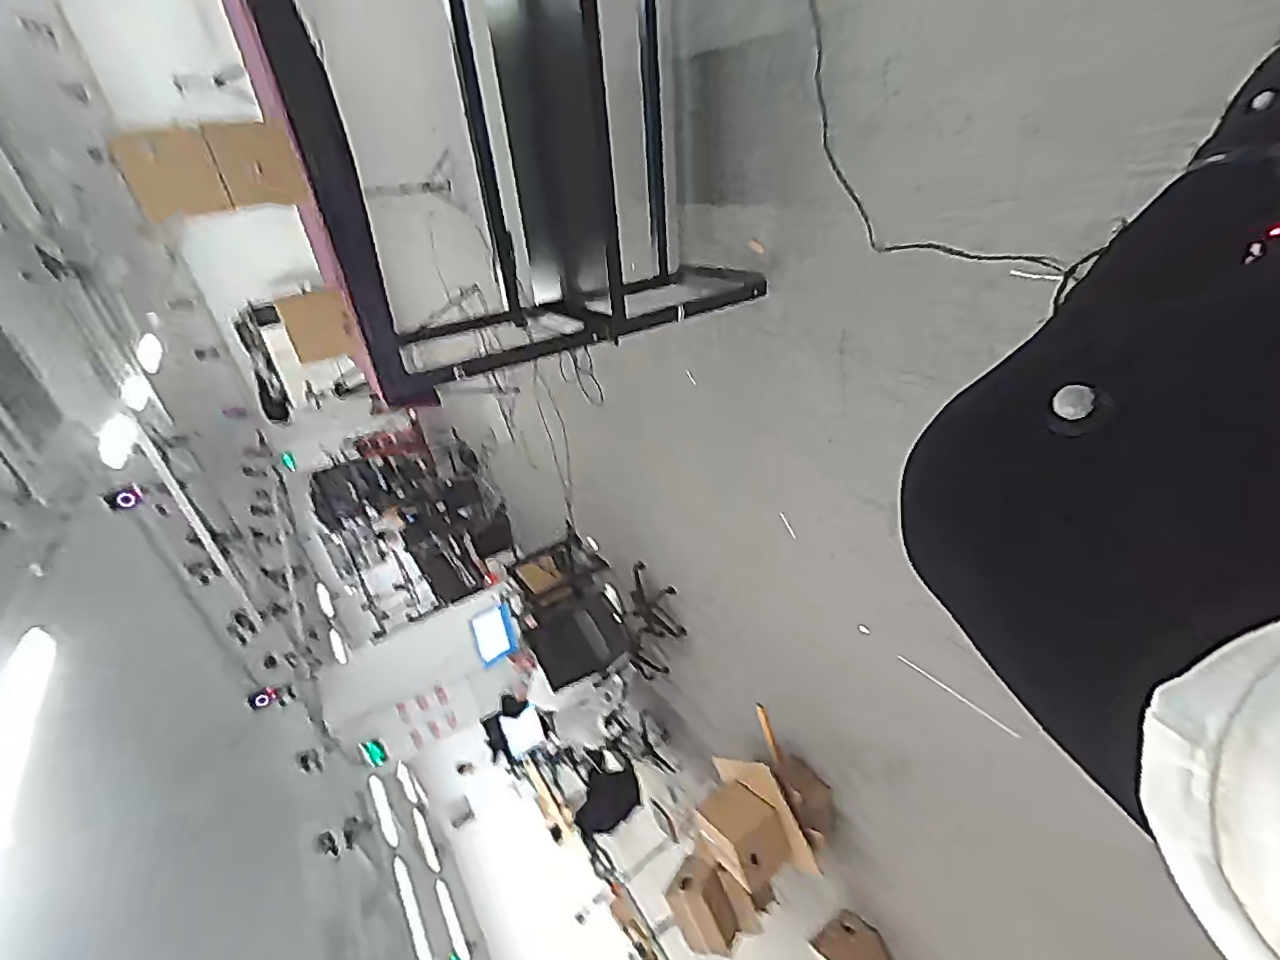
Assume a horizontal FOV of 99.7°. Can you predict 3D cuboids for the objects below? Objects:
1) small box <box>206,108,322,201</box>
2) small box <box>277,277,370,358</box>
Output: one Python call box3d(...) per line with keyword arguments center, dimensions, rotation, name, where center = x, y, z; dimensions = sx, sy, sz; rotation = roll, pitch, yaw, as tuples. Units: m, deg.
box3d(center=(-0.872, -0.760, 1.261), dimensions=(0.168, 0.176, 0.179), rotation=(38, 141, 47), name="small box")
box3d(center=(-0.840, -0.438, 1.440), dimensions=(0.179, 0.176, 0.168), rotation=(34, 138, 48), name="small box")
